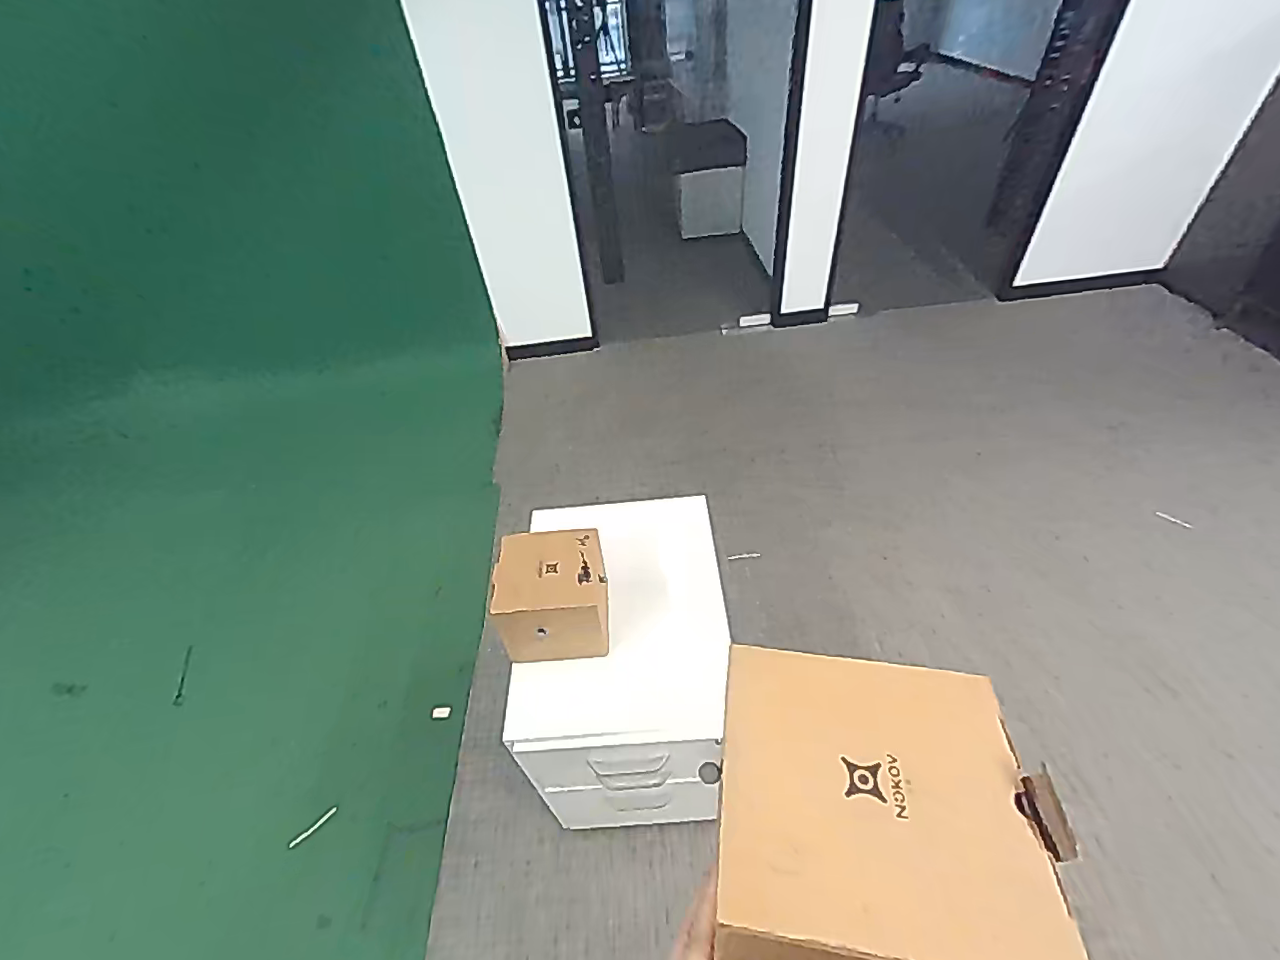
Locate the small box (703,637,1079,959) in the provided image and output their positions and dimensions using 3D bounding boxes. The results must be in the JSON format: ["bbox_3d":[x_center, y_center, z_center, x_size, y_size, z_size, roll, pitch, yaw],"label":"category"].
[{"bbox_3d":[0.137,0.234,0.373,0.179,0.176,0.168,4,40,9],"label":"small box"}]

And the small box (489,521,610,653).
[{"bbox_3d":[-0.151,0.195,0.967,0.179,0.176,0.168,-5,46,1],"label":"small box"}]
